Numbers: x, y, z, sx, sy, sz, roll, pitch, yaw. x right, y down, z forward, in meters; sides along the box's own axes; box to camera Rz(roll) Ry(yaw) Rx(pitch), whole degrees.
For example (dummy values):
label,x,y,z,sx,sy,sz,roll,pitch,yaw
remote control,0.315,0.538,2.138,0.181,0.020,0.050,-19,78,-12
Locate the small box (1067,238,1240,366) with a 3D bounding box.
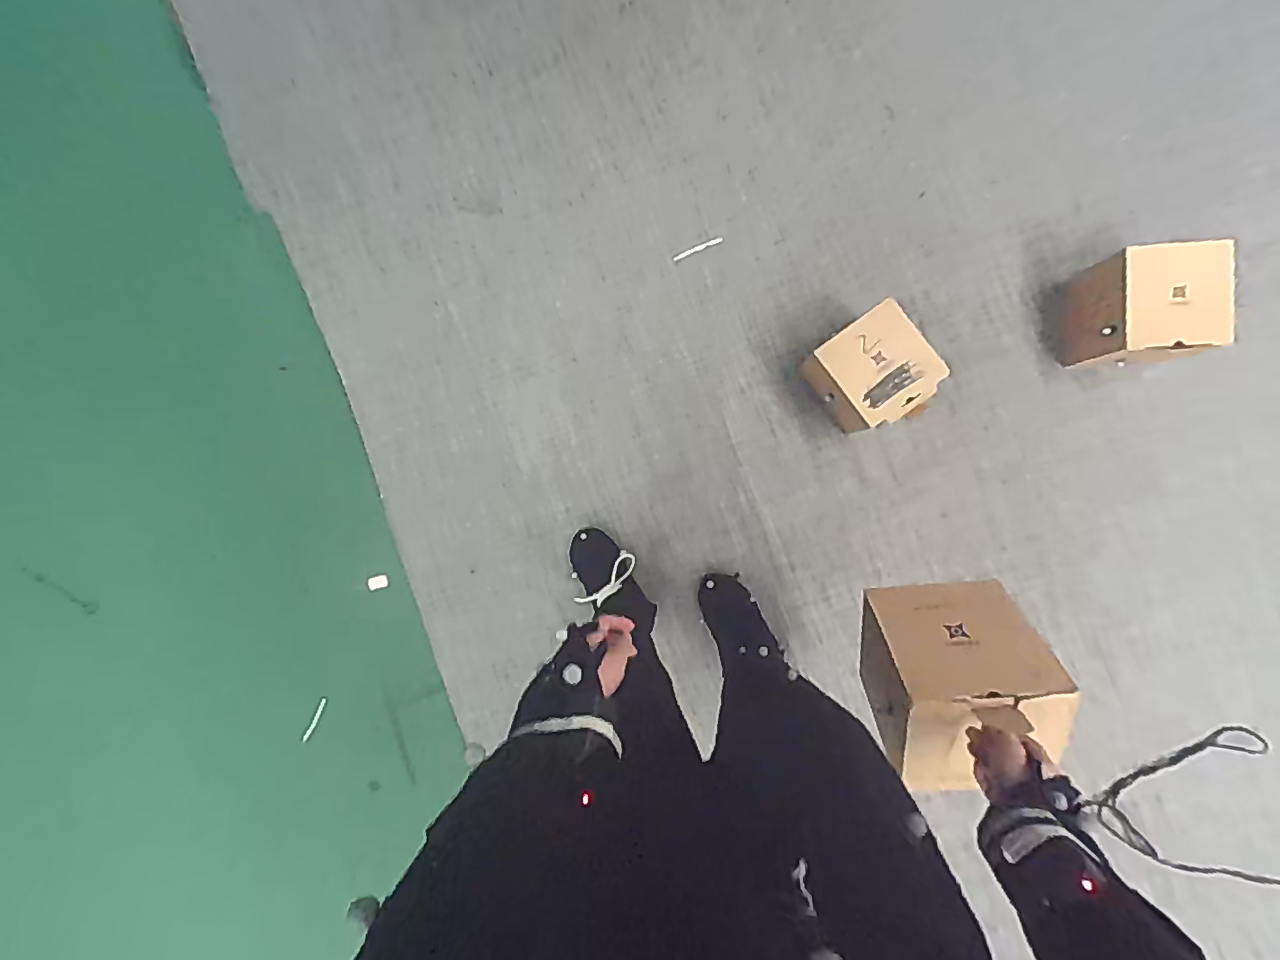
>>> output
label,x,y,z,sx,sy,sz,roll,pitch,yaw
small box,0.910,-0.311,0.975,0.168,0.176,0.179,-2,92,7
